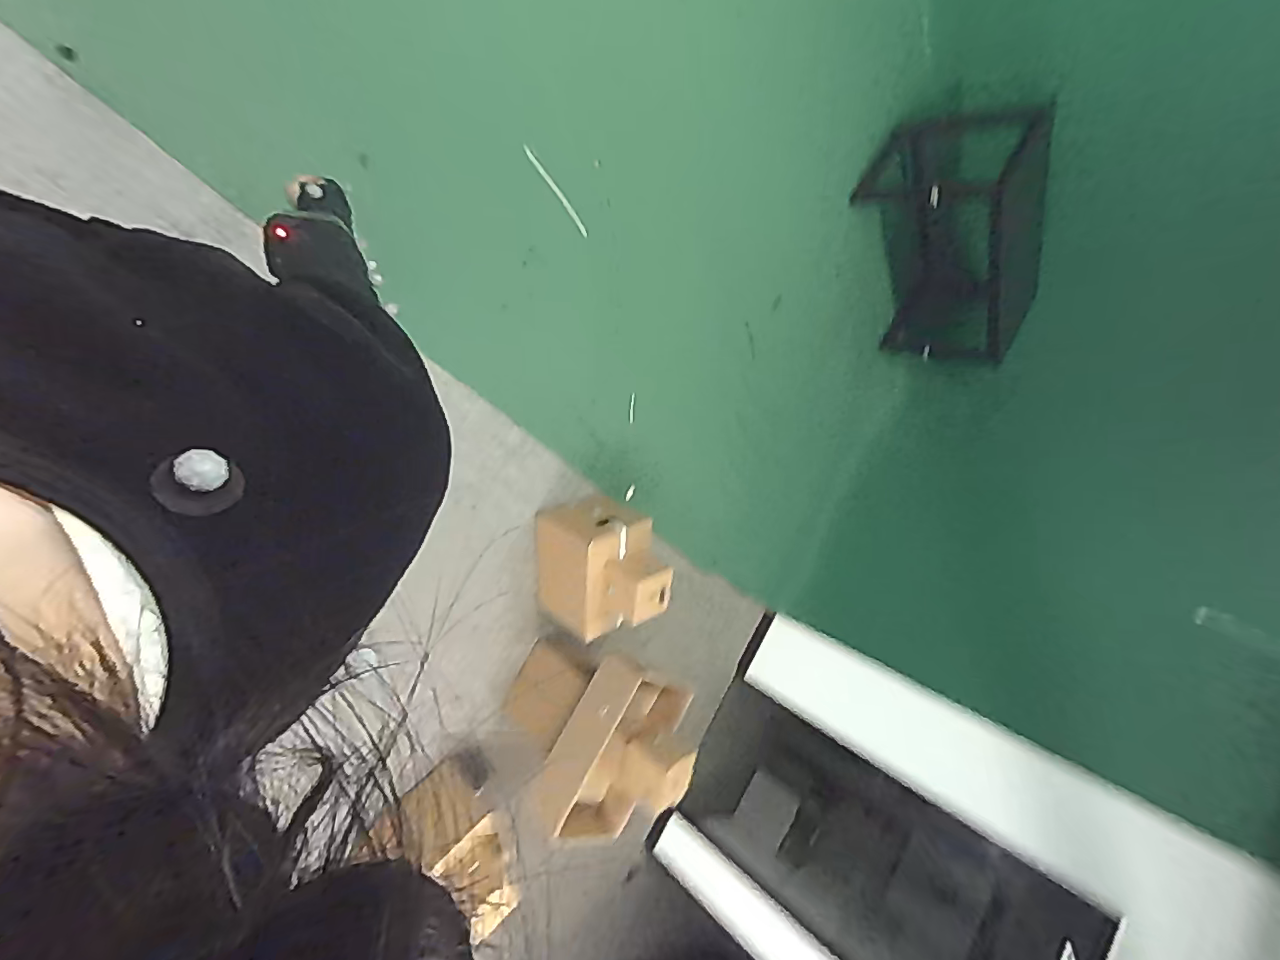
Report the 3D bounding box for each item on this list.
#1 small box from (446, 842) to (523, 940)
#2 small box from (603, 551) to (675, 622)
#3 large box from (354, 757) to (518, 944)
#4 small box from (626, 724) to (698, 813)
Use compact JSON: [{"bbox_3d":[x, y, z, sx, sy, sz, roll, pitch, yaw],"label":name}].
[{"bbox_3d":[-0.521,1.370,1.812,0.168,0.176,0.179,-32,130,-33],"label":"small box"},{"bbox_3d":[-0.005,0.367,1.902,0.179,0.176,0.168,-13,116,-43],"label":"small box"},{"bbox_3d":[-0.722,1.311,1.944,0.408,0.320,0.320,-35,130,-30],"label":"large box"},{"bbox_3d":[0.071,0.978,1.851,0.168,0.176,0.179,-3,108,-47],"label":"small box"}]
